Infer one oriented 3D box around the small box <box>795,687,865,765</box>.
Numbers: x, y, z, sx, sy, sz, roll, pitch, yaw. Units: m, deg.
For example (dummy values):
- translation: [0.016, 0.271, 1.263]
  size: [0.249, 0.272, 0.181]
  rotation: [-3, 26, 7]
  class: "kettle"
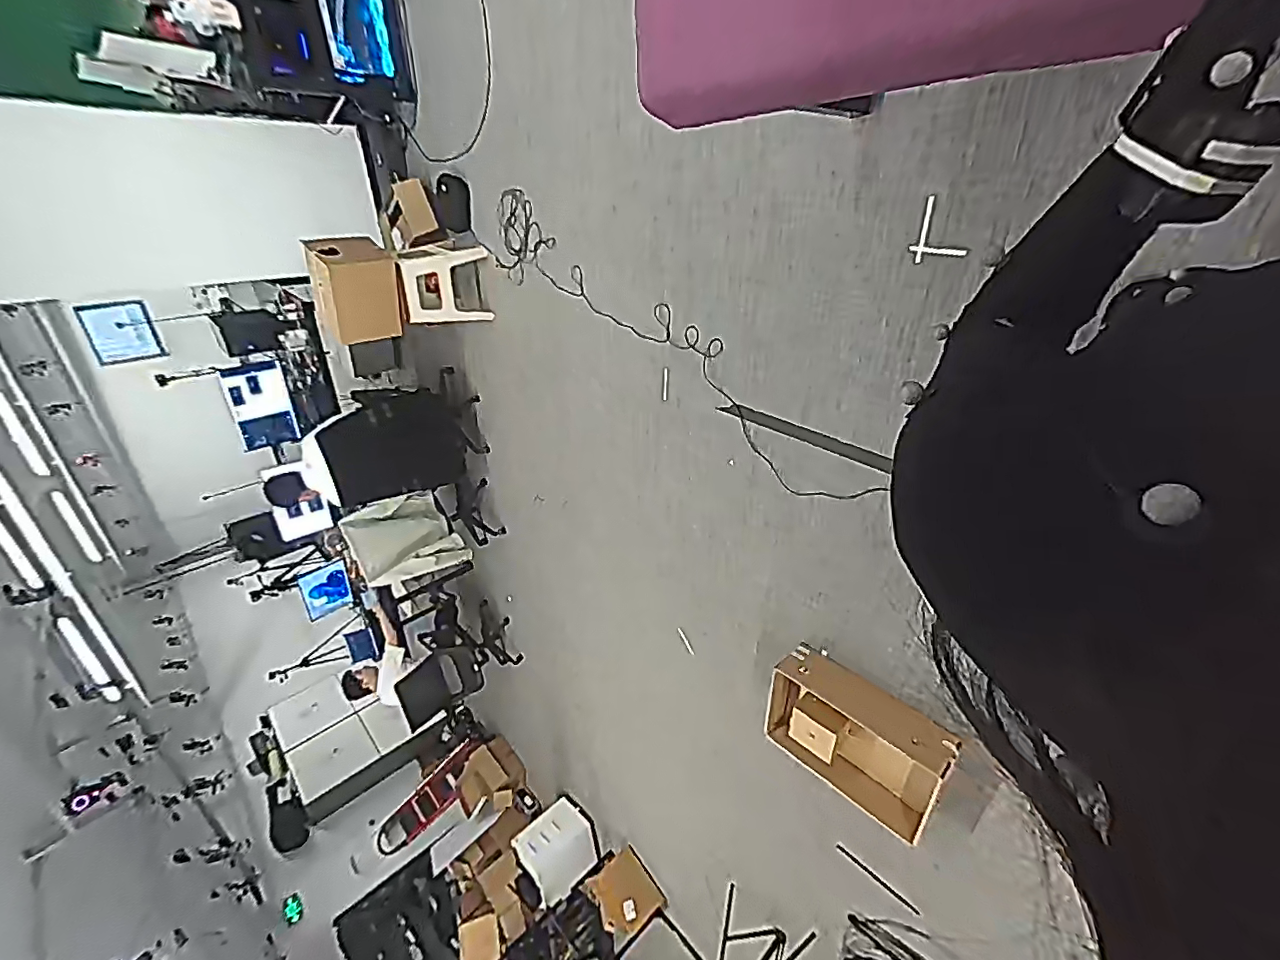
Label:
- translation: [0.705, 0.905, 2.012]
  size: [0.179, 0.176, 0.168]
  rotation: [25, 128, 39]
  class: "small box"
